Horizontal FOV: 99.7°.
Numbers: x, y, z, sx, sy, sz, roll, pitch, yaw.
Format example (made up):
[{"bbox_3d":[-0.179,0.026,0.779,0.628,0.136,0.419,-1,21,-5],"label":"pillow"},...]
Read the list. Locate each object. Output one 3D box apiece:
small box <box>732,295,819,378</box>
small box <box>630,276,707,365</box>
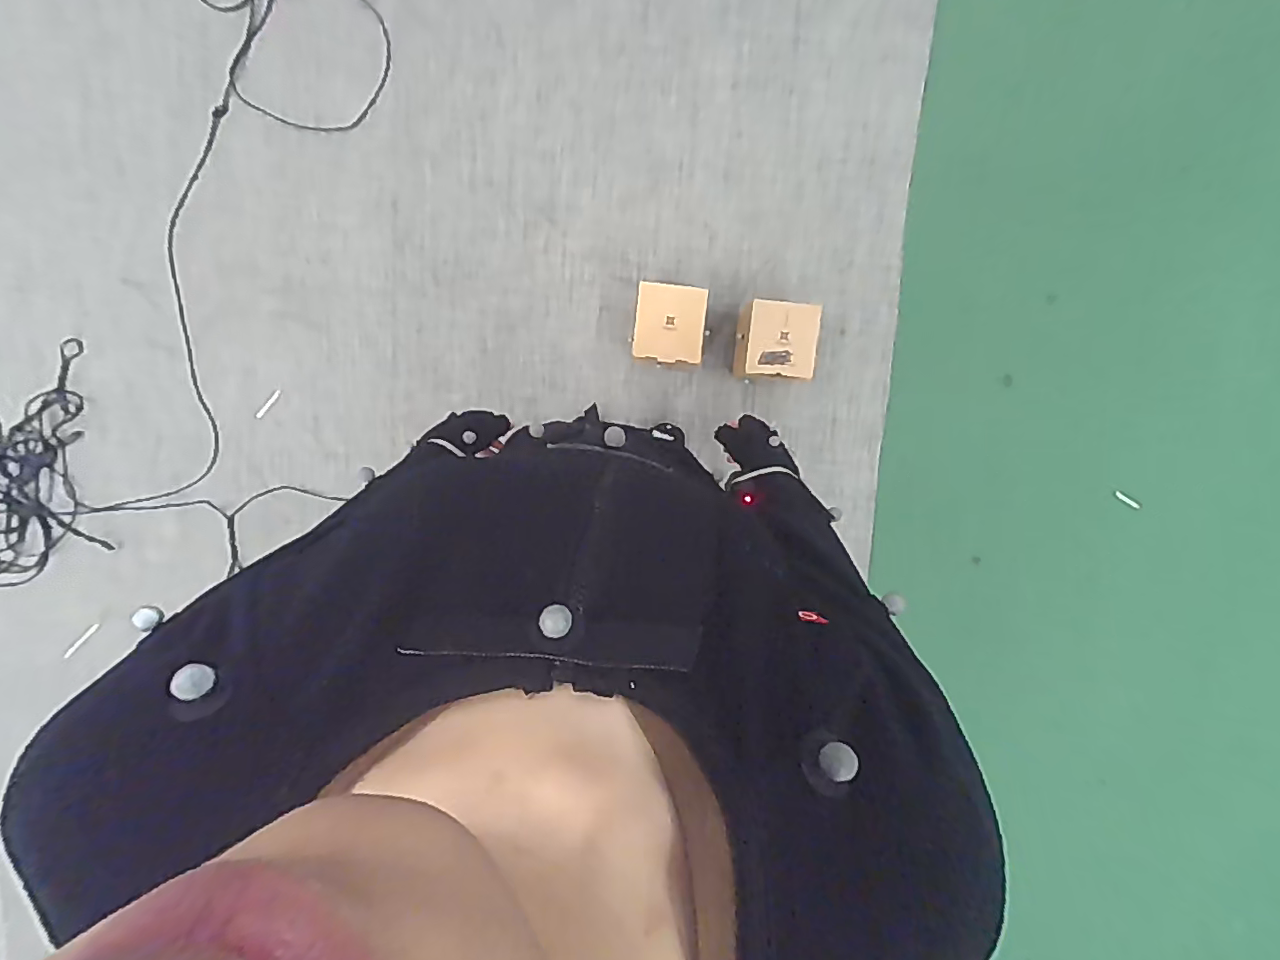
[{"bbox_3d":[0.331,-0.352,1.355,0.168,0.176,0.179,5,97,-1],"label":"small box"},{"bbox_3d":[0.064,-0.389,1.347,0.168,0.176,0.179,6,98,-2],"label":"small box"}]
